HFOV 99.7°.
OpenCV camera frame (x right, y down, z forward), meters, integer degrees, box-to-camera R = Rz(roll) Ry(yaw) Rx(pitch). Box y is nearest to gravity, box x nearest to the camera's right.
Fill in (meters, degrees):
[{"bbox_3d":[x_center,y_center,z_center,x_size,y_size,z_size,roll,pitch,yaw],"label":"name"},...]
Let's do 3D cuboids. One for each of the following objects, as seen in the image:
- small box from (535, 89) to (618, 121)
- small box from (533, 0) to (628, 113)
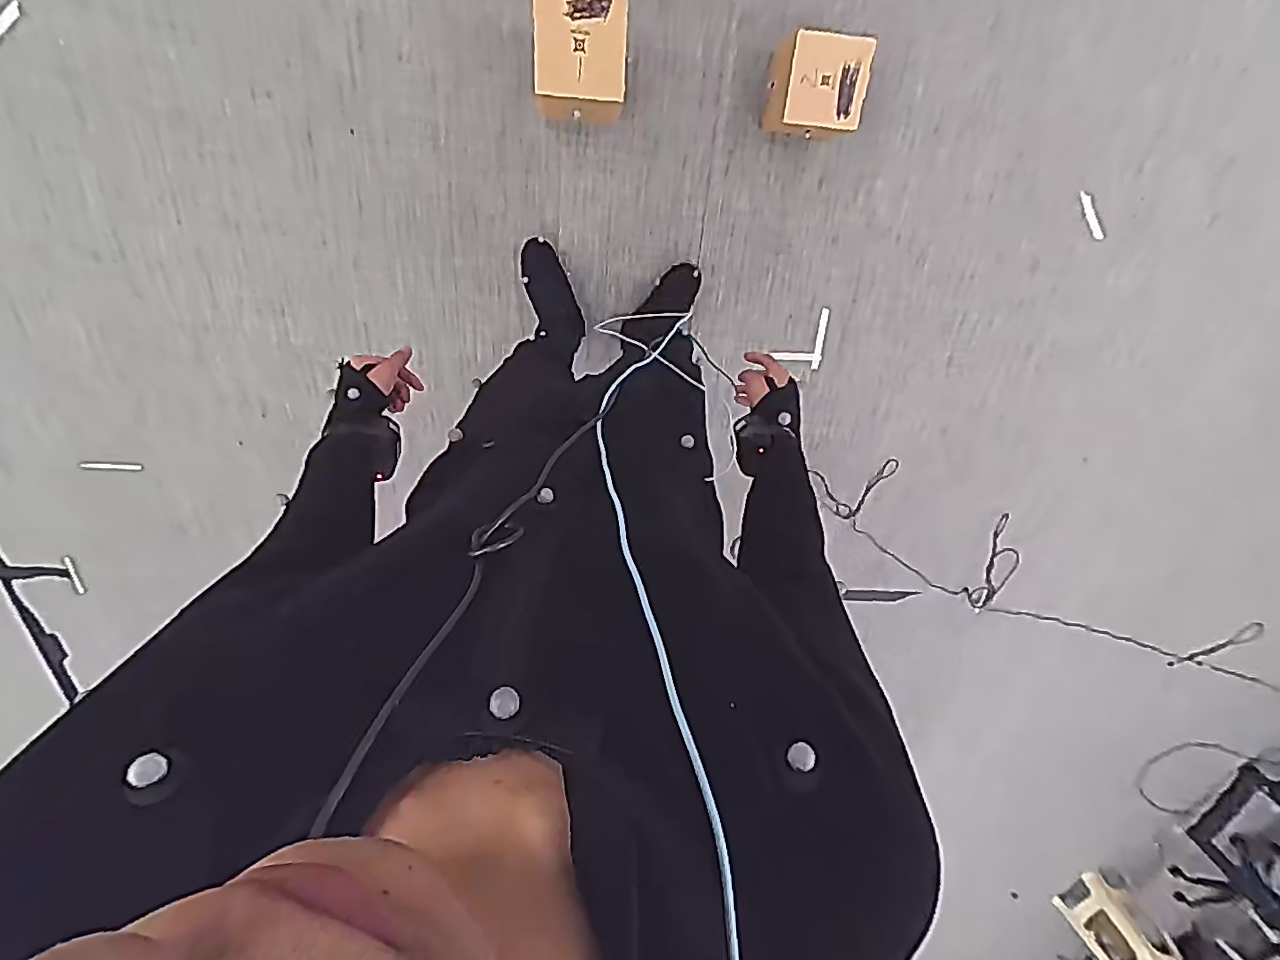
[{"bbox_3d":[-0.135,-0.894,1.175,0.179,0.176,0.168,1,117,-6],"label":"small box"},{"bbox_3d":[-0.115,-0.821,1.029,0.168,0.176,0.179,2,118,-6],"label":"small box"}]
